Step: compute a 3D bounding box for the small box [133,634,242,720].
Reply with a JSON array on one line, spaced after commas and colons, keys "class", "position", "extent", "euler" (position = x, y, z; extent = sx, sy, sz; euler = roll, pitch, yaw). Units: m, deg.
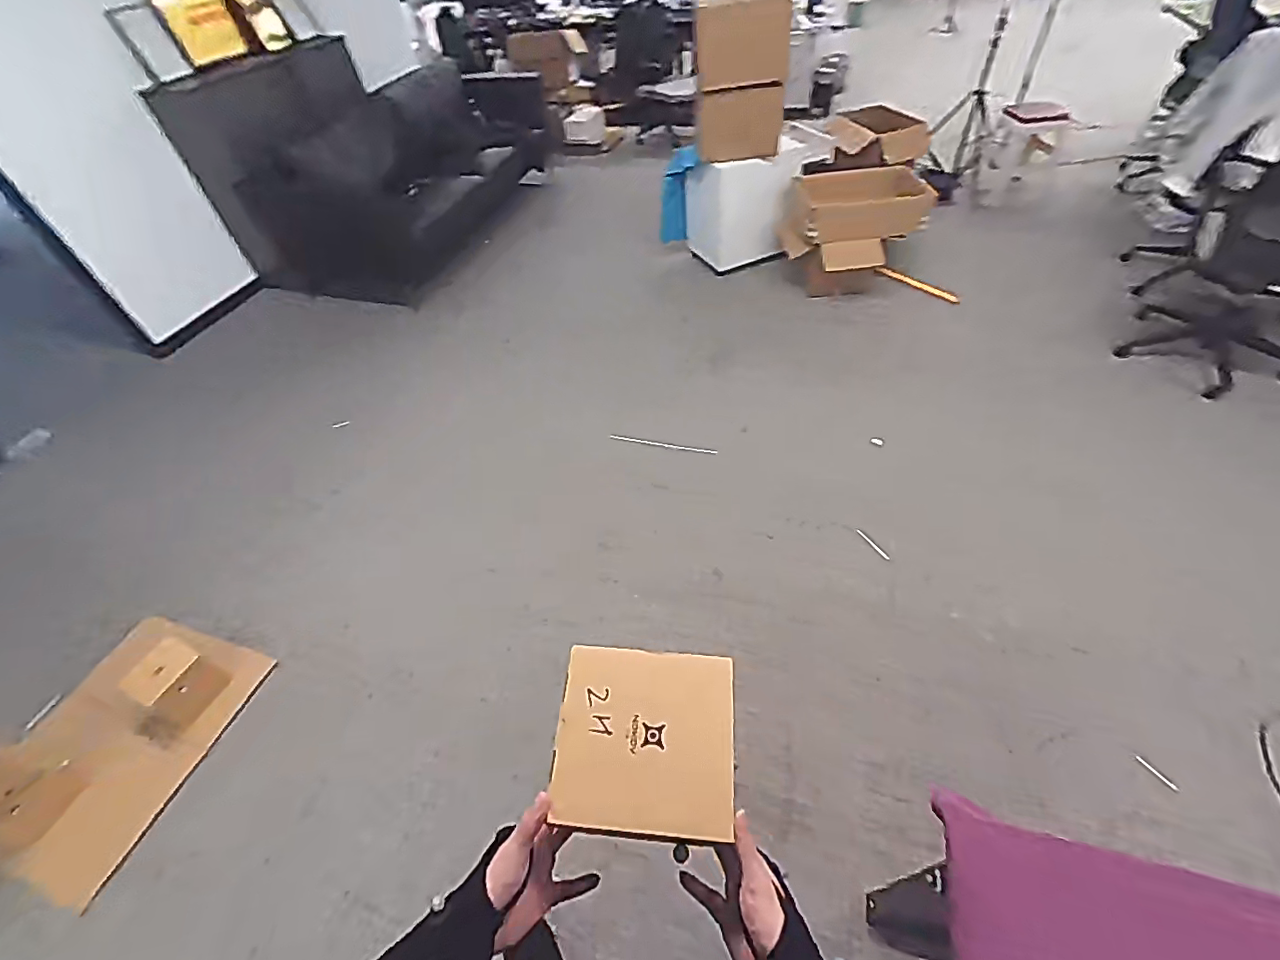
[{"class": "small box", "position": [-1.400, 0.619, 1.695], "extent": [0.168, 0.176, 0.179], "euler": [15, 53, 20]}]

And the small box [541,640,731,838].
[{"class": "small box", "position": [0.005, 0.292, 0.602], "extent": [0.179, 0.176, 0.168], "euler": [3, 55, 5]}]
